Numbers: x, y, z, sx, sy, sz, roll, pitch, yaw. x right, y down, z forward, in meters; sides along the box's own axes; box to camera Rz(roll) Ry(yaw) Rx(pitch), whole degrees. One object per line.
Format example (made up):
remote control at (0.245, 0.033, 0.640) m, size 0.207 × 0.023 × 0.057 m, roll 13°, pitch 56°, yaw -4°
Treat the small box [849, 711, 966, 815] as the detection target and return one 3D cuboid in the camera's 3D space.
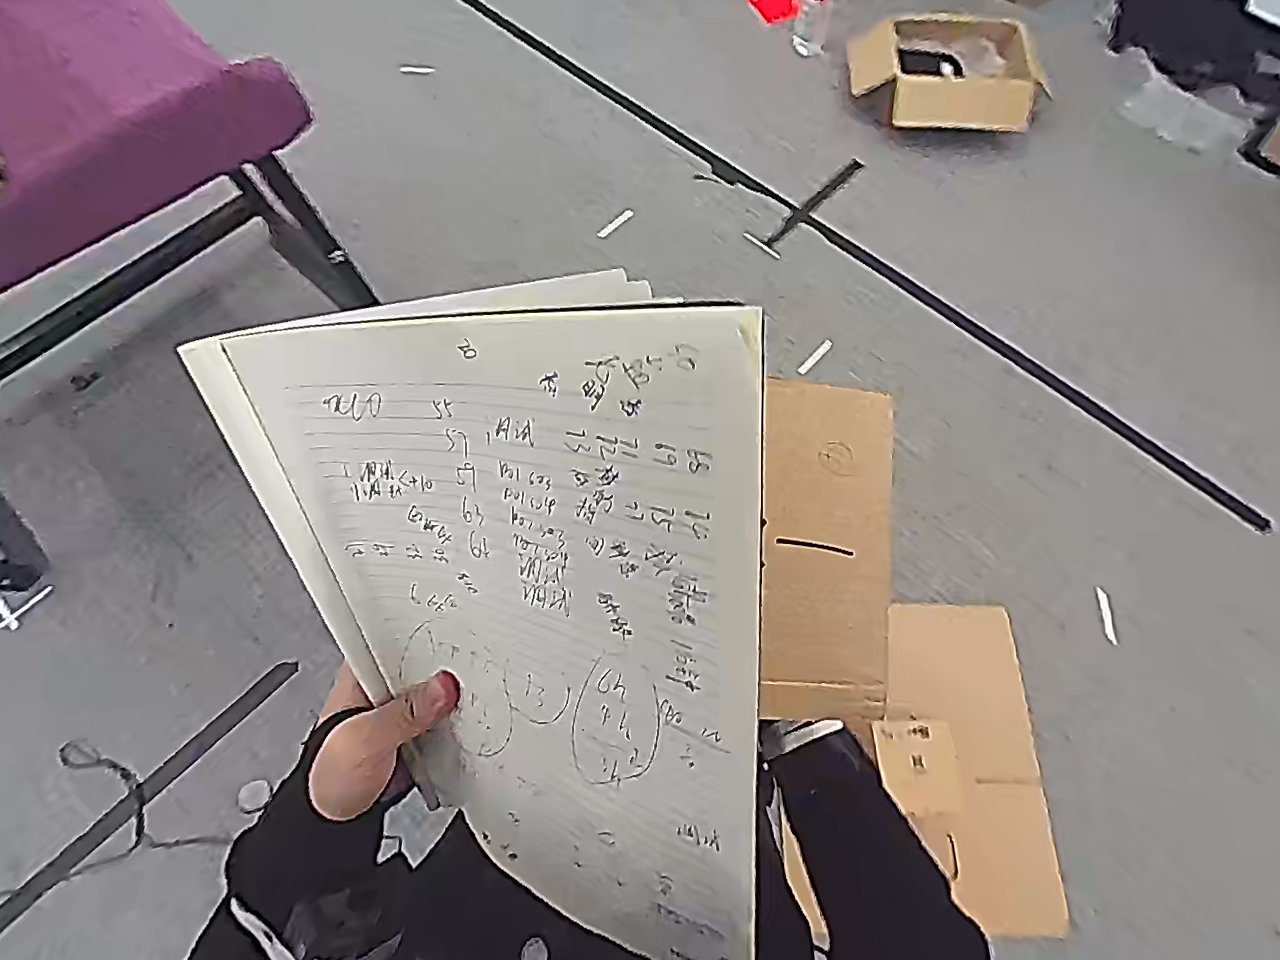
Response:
small box at (0.576, 0.612, 1.187) m, size 0.168 × 0.176 × 0.179 m, roll -1°, pitch 73°, yaw 0°
